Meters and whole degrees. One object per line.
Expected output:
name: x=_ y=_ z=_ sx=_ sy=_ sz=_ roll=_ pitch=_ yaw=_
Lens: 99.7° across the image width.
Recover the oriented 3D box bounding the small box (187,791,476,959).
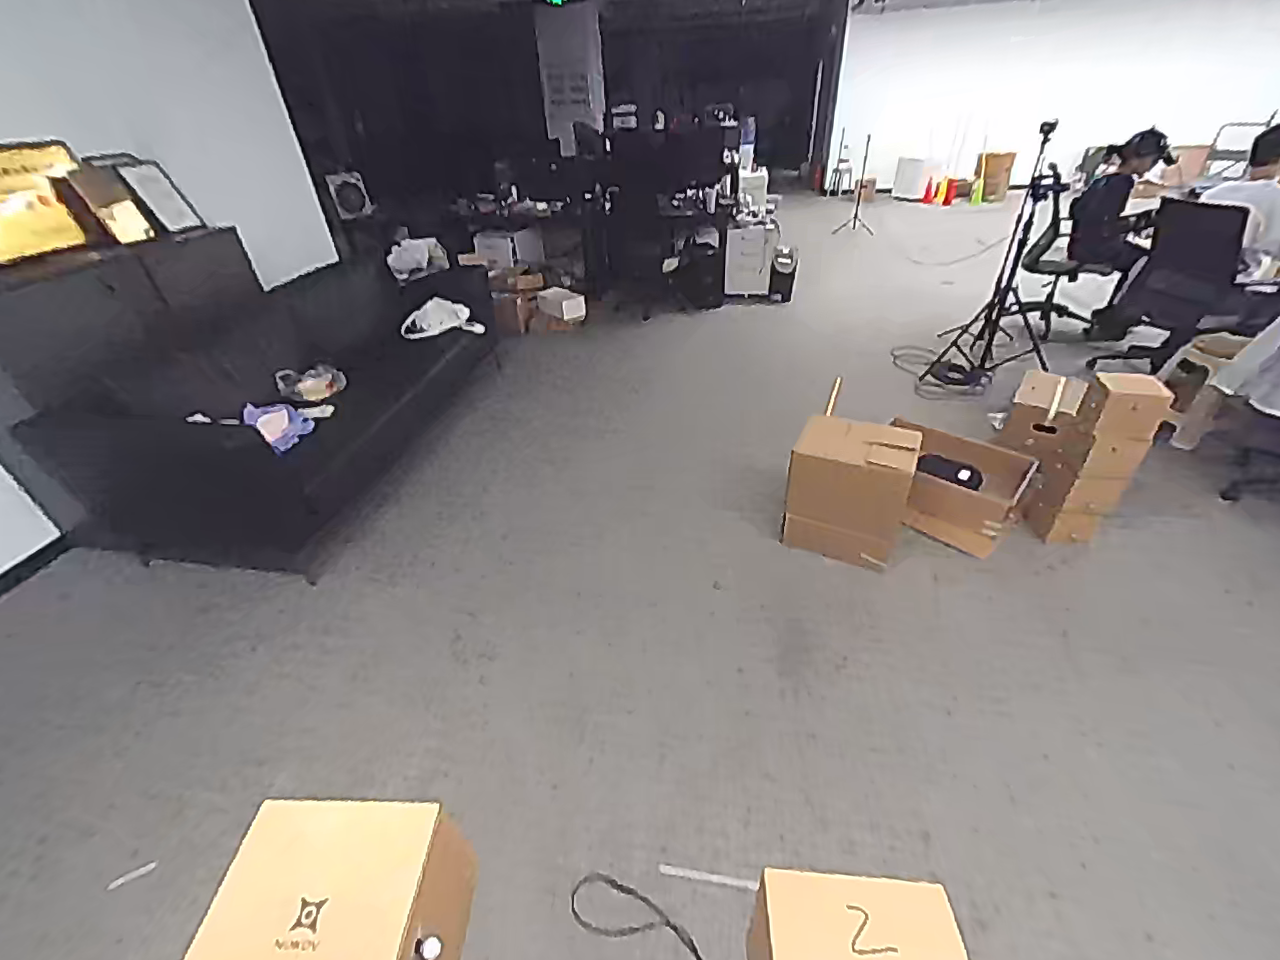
small box: x=-0.257 y=0.405 z=0.480 sx=0.168 sy=0.176 sz=0.179 roll=0 pitch=41 yaw=2
